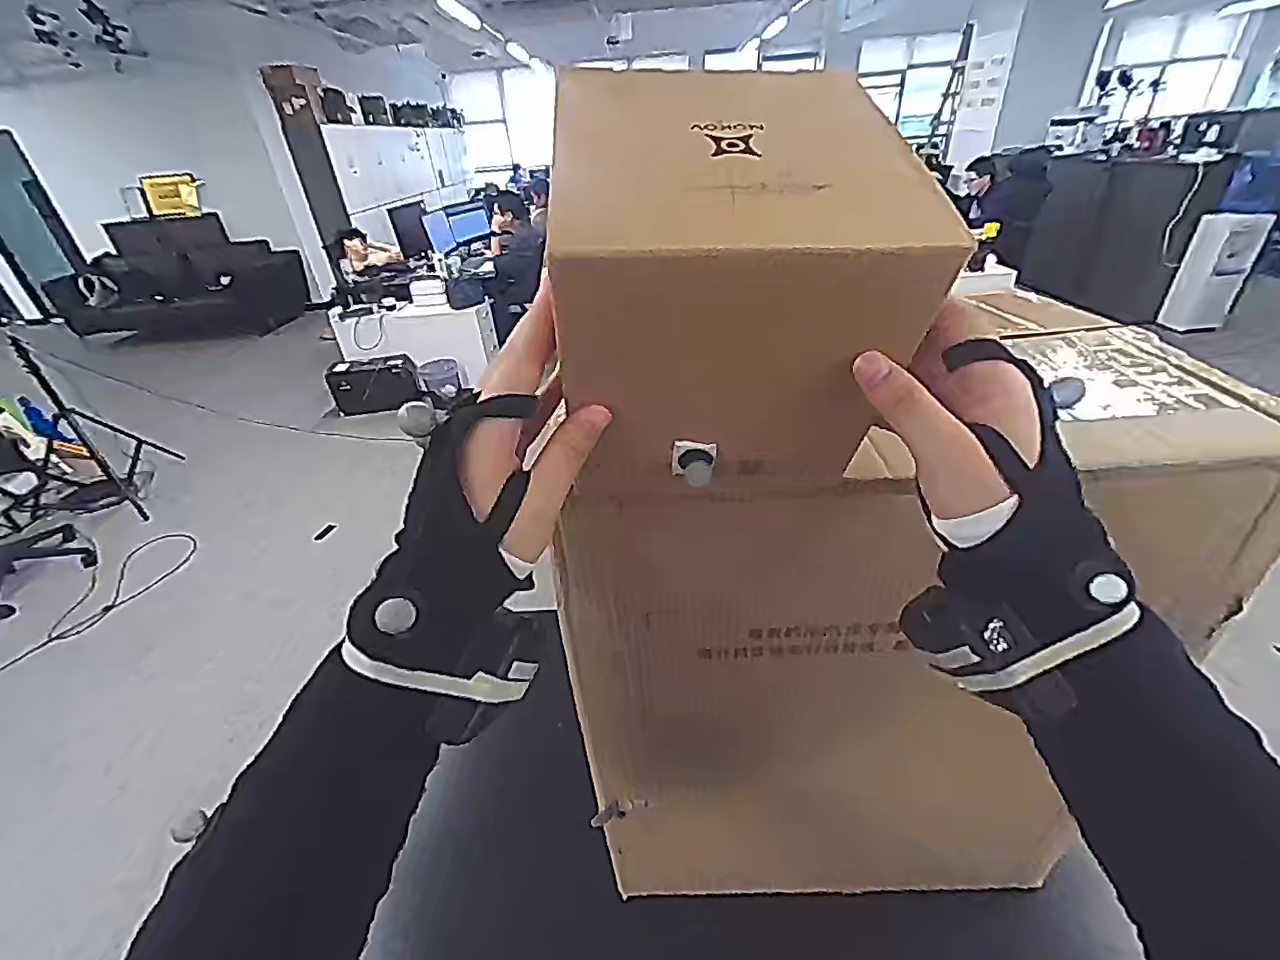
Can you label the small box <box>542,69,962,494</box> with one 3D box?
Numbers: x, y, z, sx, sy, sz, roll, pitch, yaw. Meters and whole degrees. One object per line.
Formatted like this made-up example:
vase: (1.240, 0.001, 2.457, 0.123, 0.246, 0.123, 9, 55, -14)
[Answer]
small box: (0.037, -0.111, 0.318, 0.168, 0.176, 0.179, -4, 55, -3)
